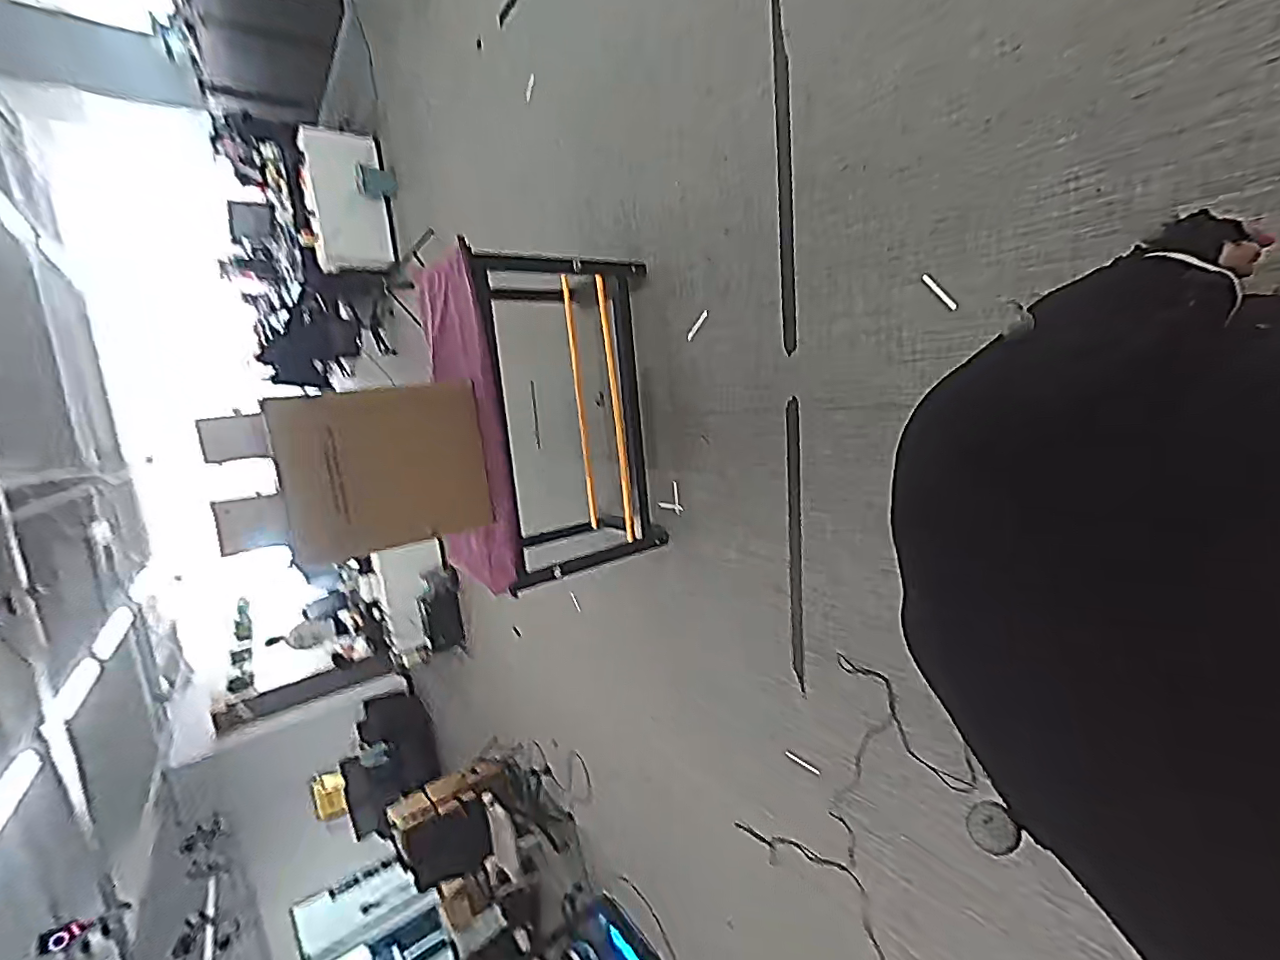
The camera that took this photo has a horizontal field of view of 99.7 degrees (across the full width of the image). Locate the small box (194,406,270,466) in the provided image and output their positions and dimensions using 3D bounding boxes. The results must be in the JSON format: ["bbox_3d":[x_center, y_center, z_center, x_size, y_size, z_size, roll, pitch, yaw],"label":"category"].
[{"bbox_3d":[-1.302,-0.144,1.734,0.179,0.176,0.168,8,108,53],"label":"small box"}]
